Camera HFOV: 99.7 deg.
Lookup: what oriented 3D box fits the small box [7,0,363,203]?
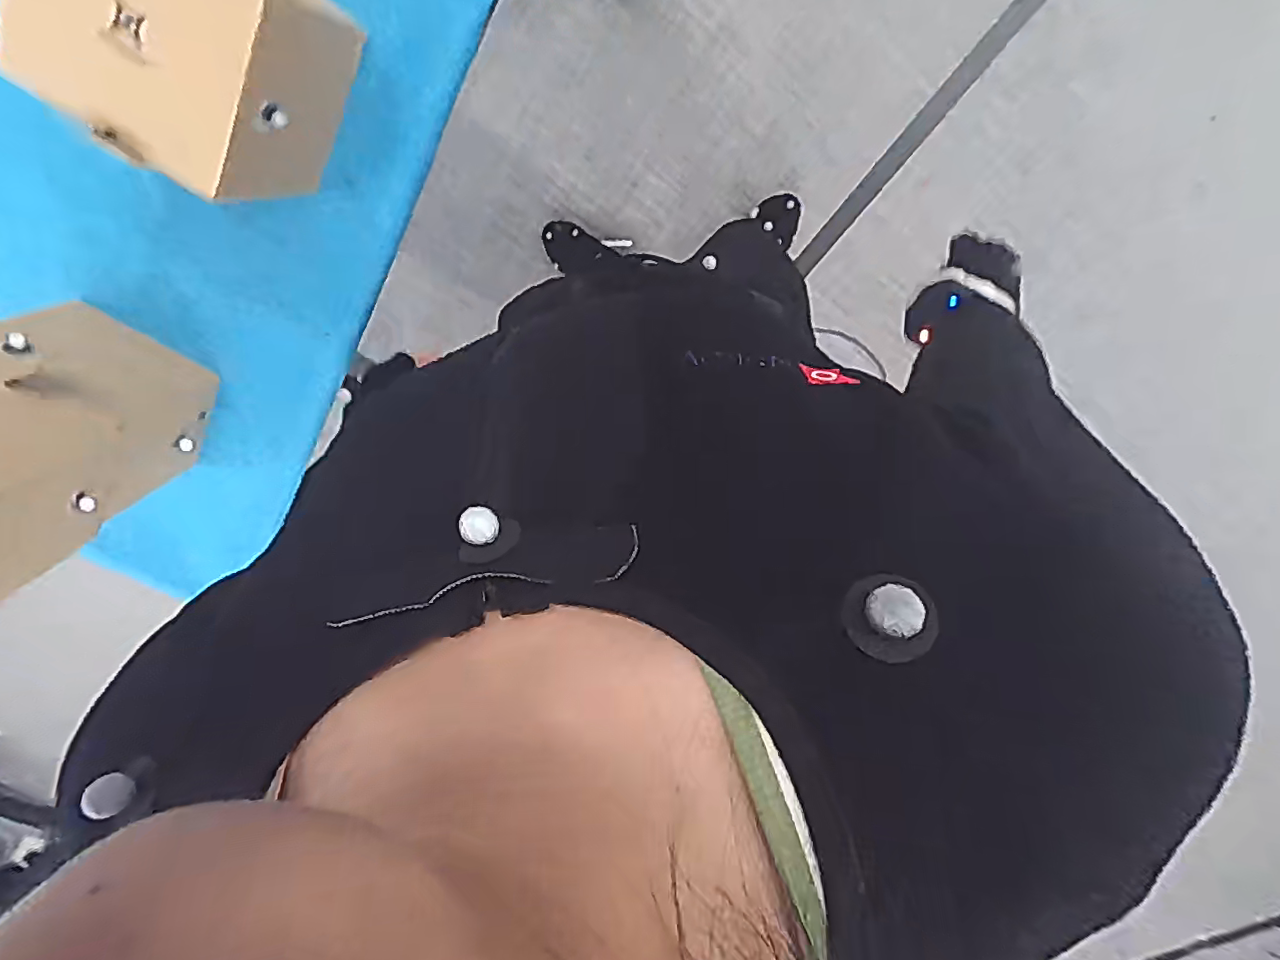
[{"bbox_3d":[-0.380,-0.380,0.478,0.168,0.176,0.179,31,117,-16],"label":"small box"}]

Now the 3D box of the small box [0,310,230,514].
[{"bbox_3d":[-0.665,-0.086,0.665,0.179,0.176,0.168,33,118,-18],"label":"small box"}]
